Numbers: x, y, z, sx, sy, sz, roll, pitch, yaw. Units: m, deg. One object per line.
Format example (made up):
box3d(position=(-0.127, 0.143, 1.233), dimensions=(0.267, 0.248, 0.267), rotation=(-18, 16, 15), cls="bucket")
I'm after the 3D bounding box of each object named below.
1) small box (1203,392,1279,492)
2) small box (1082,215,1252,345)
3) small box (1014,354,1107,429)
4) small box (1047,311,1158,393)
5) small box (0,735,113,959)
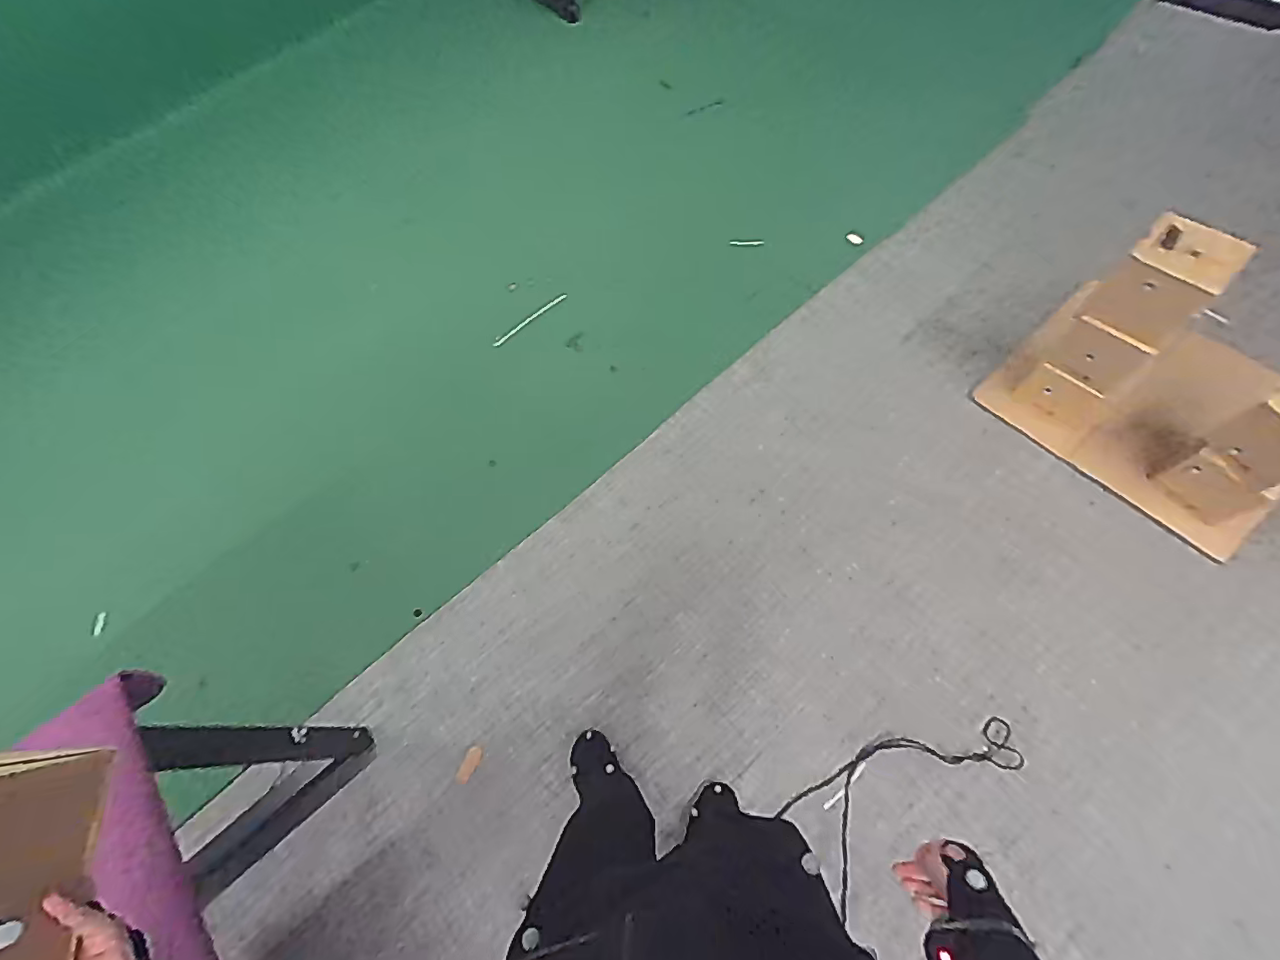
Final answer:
box3d(position=(1.407, -0.098, 1.167), dimensions=(0.179, 0.176, 0.168), rotation=(-22, 65, -3), cls="small box")
box3d(position=(1.130, -0.430, 1.178), dimensions=(0.168, 0.176, 0.179), rotation=(-43, 68, -13), cls="small box")
box3d(position=(1.163, -0.272, 1.466), dimensions=(0.179, 0.176, 0.168), rotation=(-42, 67, -13), cls="small box")
box3d(position=(1.147, -0.347, 1.320), dimensions=(0.179, 0.176, 0.168), rotation=(-42, 67, -13), cls="small box")
box3d(position=(-0.478, 0.257, 0.320), dimensions=(0.168, 0.179, 0.176), rotation=(1, 75, -7), cls="small box")
